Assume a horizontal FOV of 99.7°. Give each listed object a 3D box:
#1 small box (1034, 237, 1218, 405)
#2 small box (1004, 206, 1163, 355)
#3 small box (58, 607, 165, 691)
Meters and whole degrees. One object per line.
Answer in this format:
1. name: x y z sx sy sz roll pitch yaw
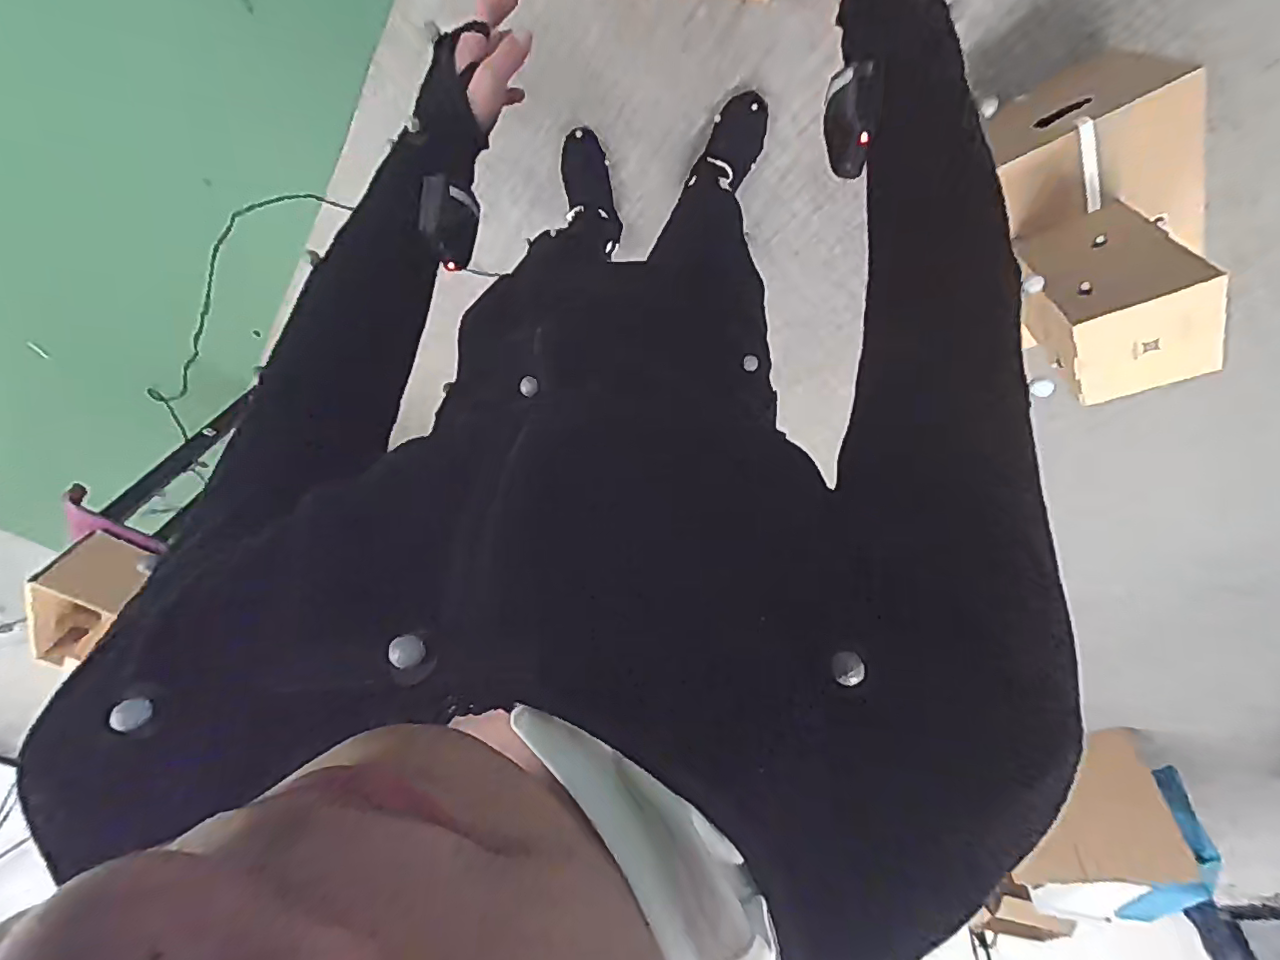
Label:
1. small box: 0.762 -0.254 0.869 0.179 0.176 0.168 -18 127 27
2. small box: 0.795 -0.364 0.984 0.179 0.176 0.168 -16 127 27
3. small box: -1.609 0.516 1.654 0.168 0.176 0.179 37 128 -24
